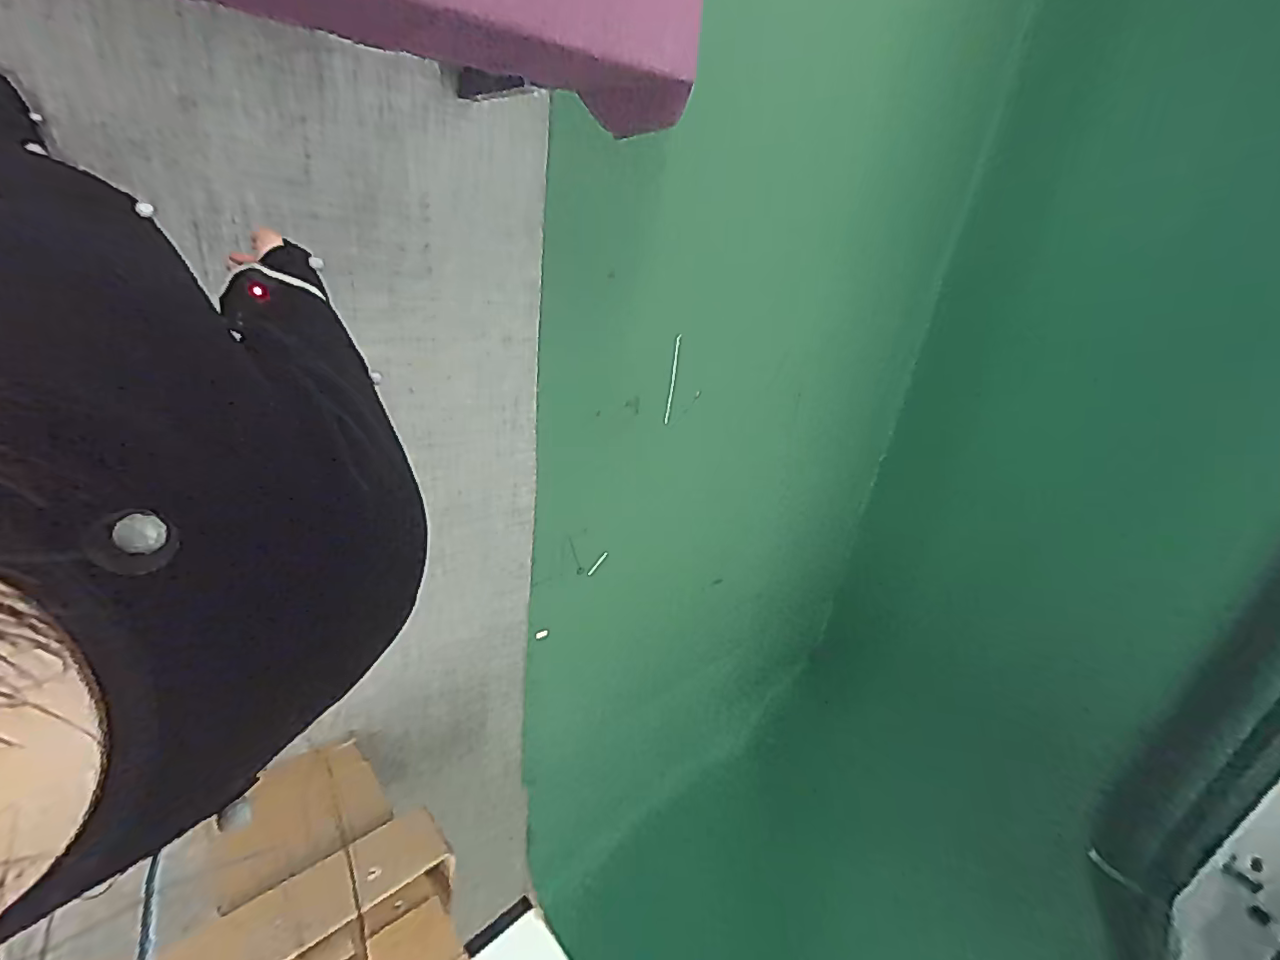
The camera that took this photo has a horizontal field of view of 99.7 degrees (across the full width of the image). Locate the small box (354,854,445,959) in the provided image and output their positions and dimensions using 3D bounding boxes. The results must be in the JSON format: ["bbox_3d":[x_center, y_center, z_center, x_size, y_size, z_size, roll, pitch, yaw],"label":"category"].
[{"bbox_3d":[-0.639,1.156,1.437,0.179,0.176,0.168,-11,118,-41],"label":"small box"}]

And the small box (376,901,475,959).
[{"bbox_3d":[-0.528,1.200,1.327,0.179,0.176,0.168,-11,118,-41],"label":"small box"}]
